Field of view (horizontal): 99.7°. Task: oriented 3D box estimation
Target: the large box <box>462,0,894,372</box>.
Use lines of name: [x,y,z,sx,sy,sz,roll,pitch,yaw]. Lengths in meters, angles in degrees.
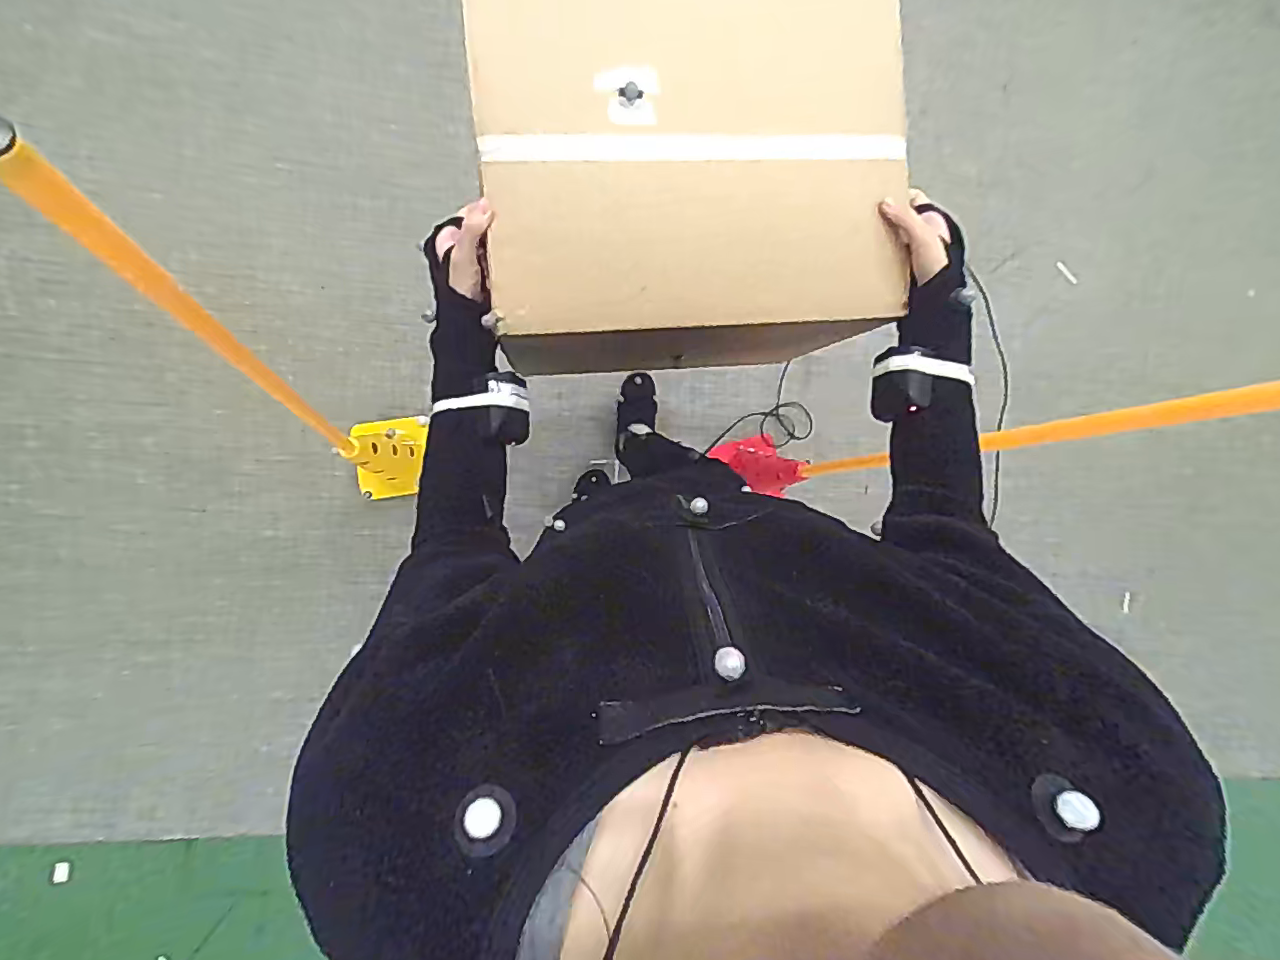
large box: [0.032,-0.314,0.658,0.408,0.320,0.320,-5,94,-8]
